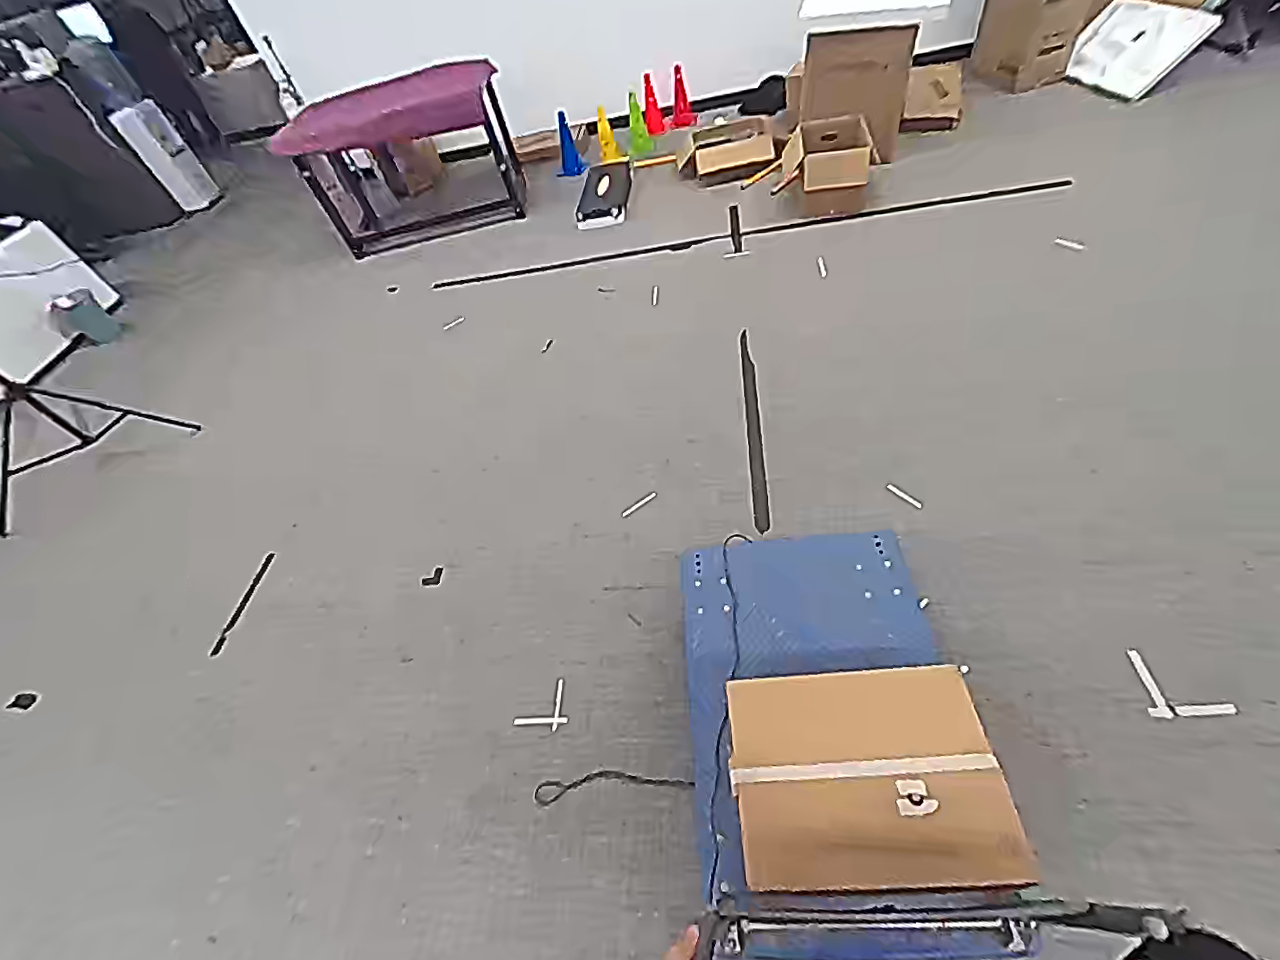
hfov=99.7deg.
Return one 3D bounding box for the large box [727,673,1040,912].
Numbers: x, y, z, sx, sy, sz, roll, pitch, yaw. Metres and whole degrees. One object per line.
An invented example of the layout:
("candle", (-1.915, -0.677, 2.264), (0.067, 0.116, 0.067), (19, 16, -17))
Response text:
("large box", (0.380, 0.571, 0.973), (0.408, 0.320, 0.320), (-7, 51, 8))
